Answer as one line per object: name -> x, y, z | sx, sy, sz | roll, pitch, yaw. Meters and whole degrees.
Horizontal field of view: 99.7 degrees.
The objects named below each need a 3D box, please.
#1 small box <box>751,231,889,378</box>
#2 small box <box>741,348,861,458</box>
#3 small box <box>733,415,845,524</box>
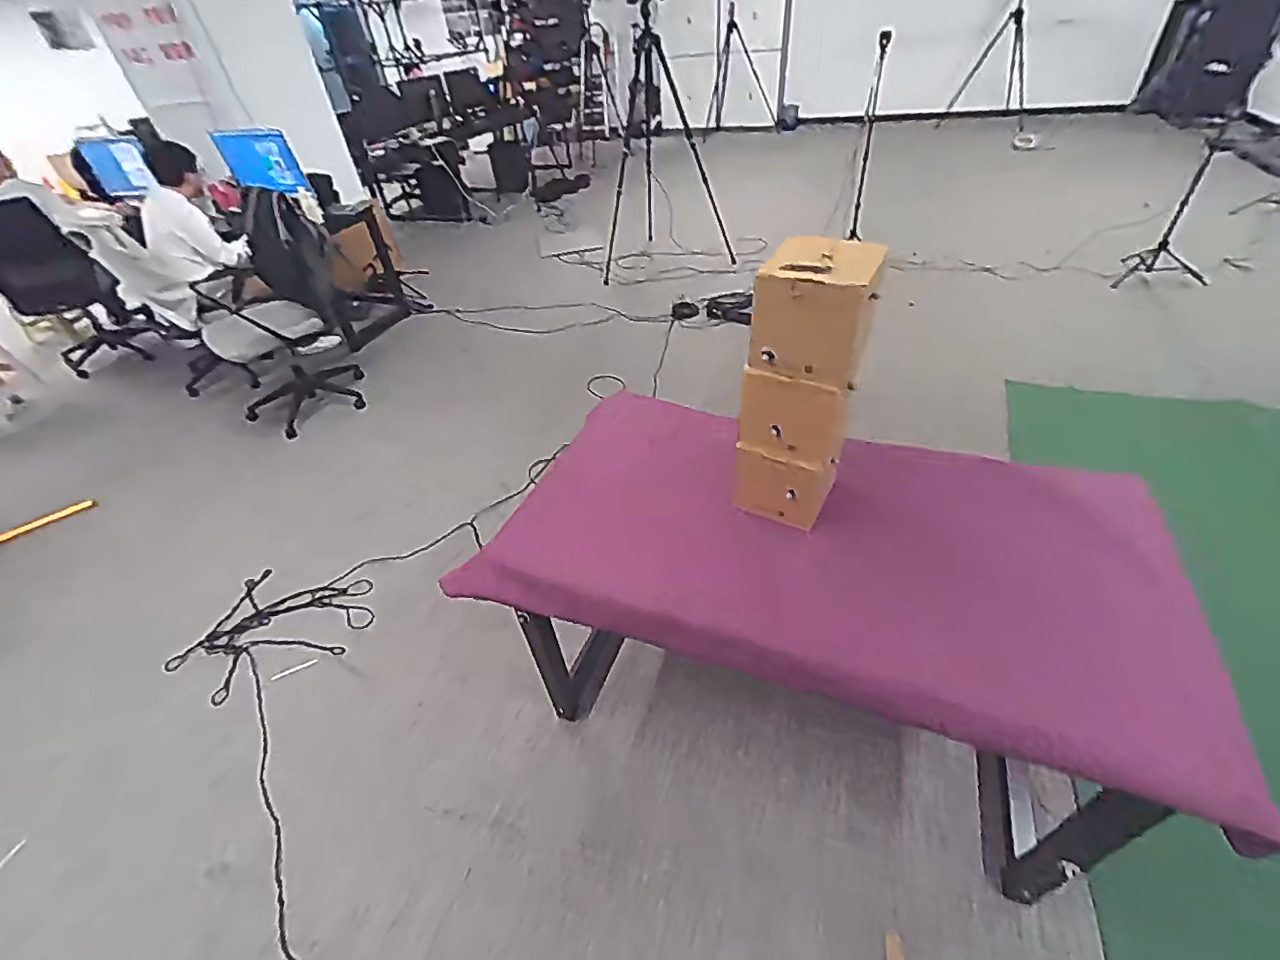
small box -> 0.290, -0.290, 0.892 | 0.168, 0.176, 0.179 | 18, 47, 23
small box -> 0.291, -0.166, 1.000 | 0.168, 0.176, 0.179 | 18, 48, 23
small box -> 0.299, -0.039, 1.100 | 0.168, 0.176, 0.179 | 20, 47, 26
